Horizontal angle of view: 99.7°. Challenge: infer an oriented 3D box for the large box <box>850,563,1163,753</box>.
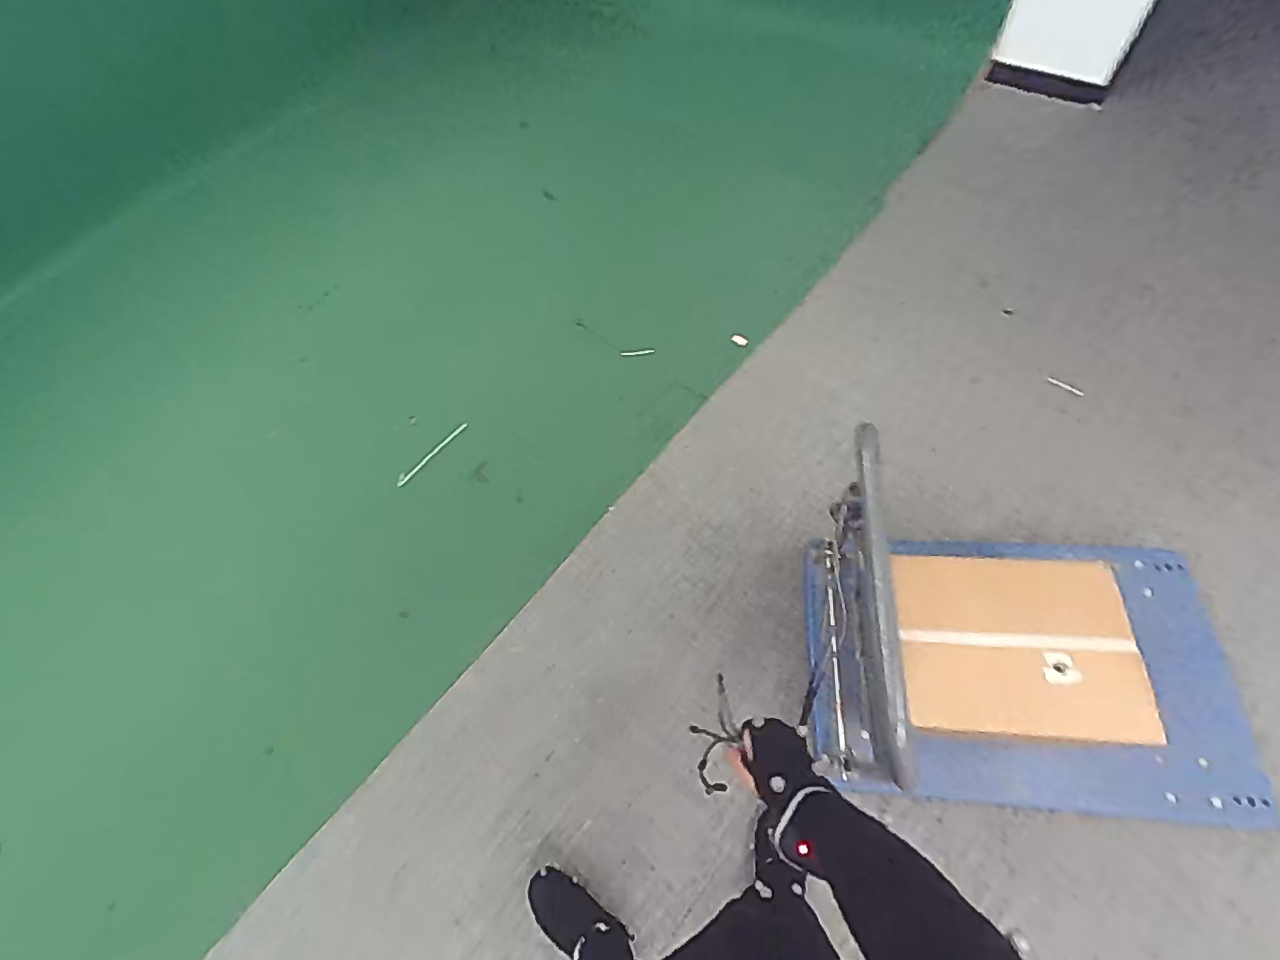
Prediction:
[{"bbox_3d":[0.683,0.370,1.101,0.408,0.320,0.320,1,64,8],"label":"large box"}]
